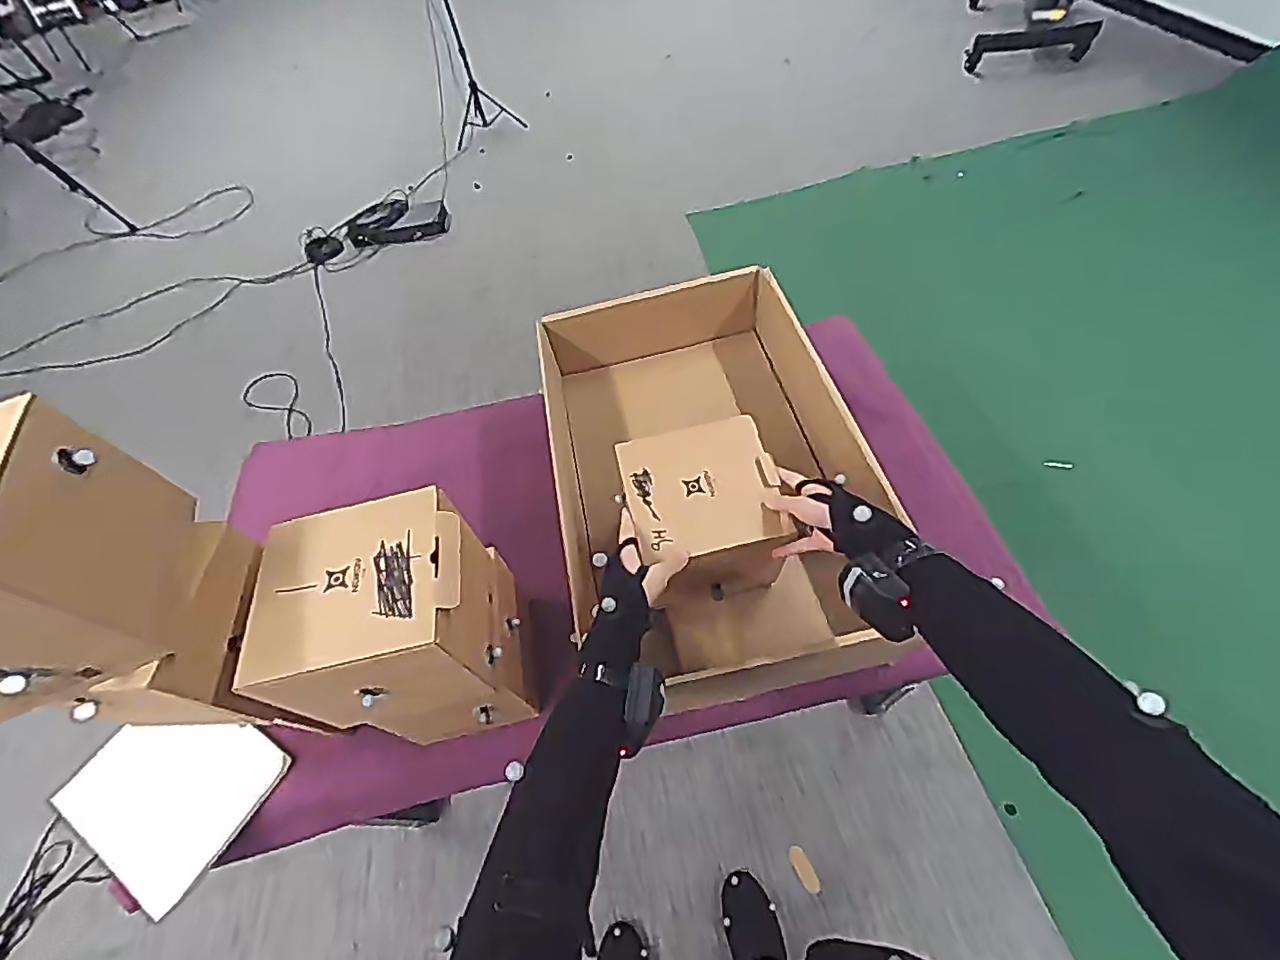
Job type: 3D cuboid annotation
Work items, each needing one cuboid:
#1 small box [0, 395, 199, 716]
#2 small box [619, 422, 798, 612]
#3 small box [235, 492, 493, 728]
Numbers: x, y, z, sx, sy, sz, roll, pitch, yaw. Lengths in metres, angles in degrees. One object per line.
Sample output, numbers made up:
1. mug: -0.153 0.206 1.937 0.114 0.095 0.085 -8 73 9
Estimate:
1. small box: -0.515 0.067 0.447 0.168 0.176 0.179 -22 56 -6
2. small box: 0.077 0.053 0.690 0.179 0.176 0.168 -12 59 -3
3. small box: -0.259 0.139 0.561 0.179 0.176 0.168 -13 54 -2
